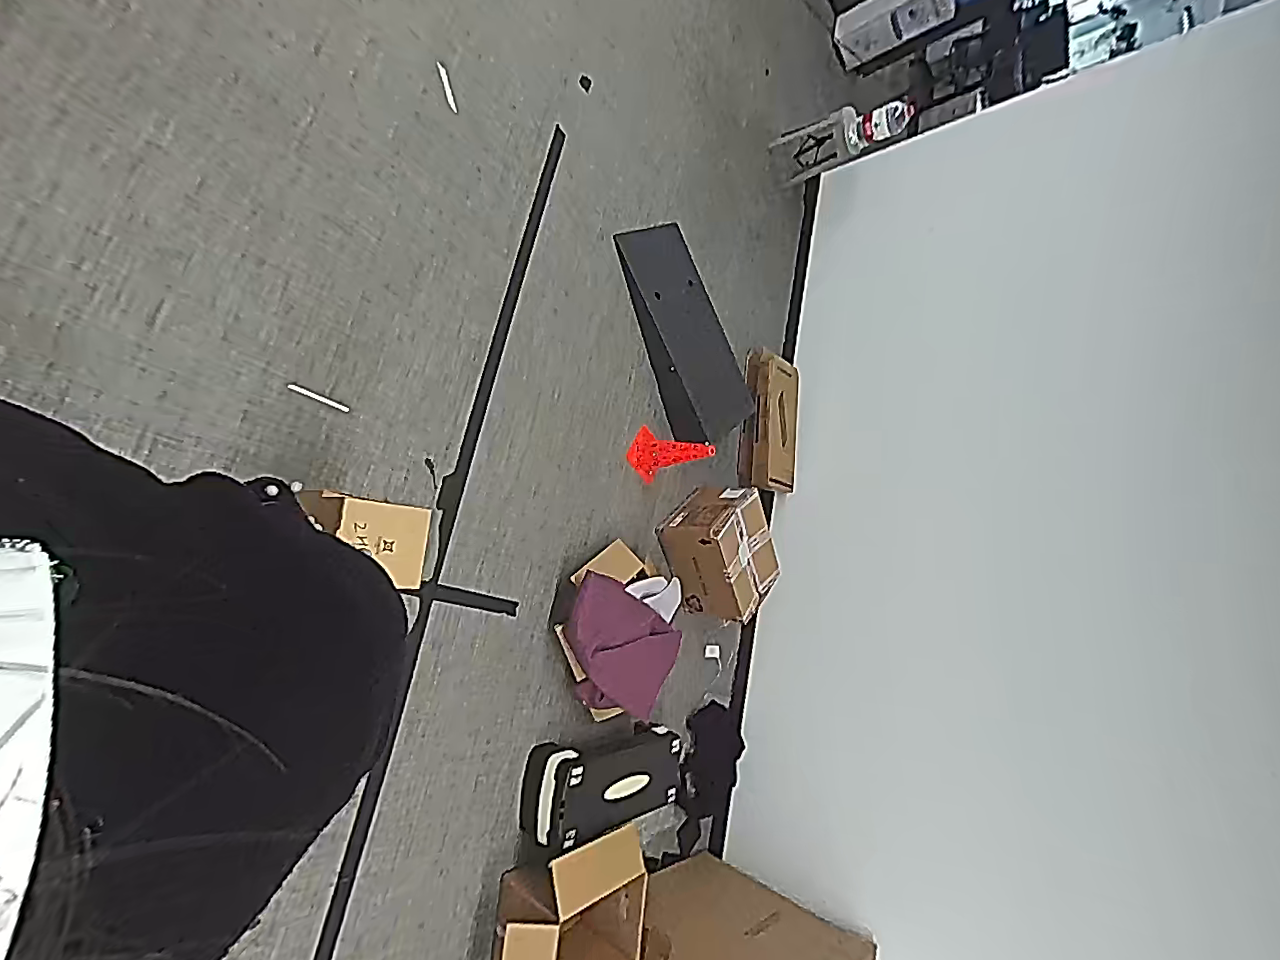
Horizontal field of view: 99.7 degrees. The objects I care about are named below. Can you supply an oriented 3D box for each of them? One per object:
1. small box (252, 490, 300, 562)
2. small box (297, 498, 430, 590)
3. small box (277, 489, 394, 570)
[{"bbox_3d":[-0.805,0.118,1.315,0.179,0.176,0.168,17,75,-47],"label":"small box"},{"bbox_3d":[-0.559,0.128,1.096,0.179,0.176,0.168,15,77,-48],"label":"small box"},{"bbox_3d":[-0.680,0.122,1.208,0.168,0.176,0.179,21,74,-47],"label":"small box"}]
